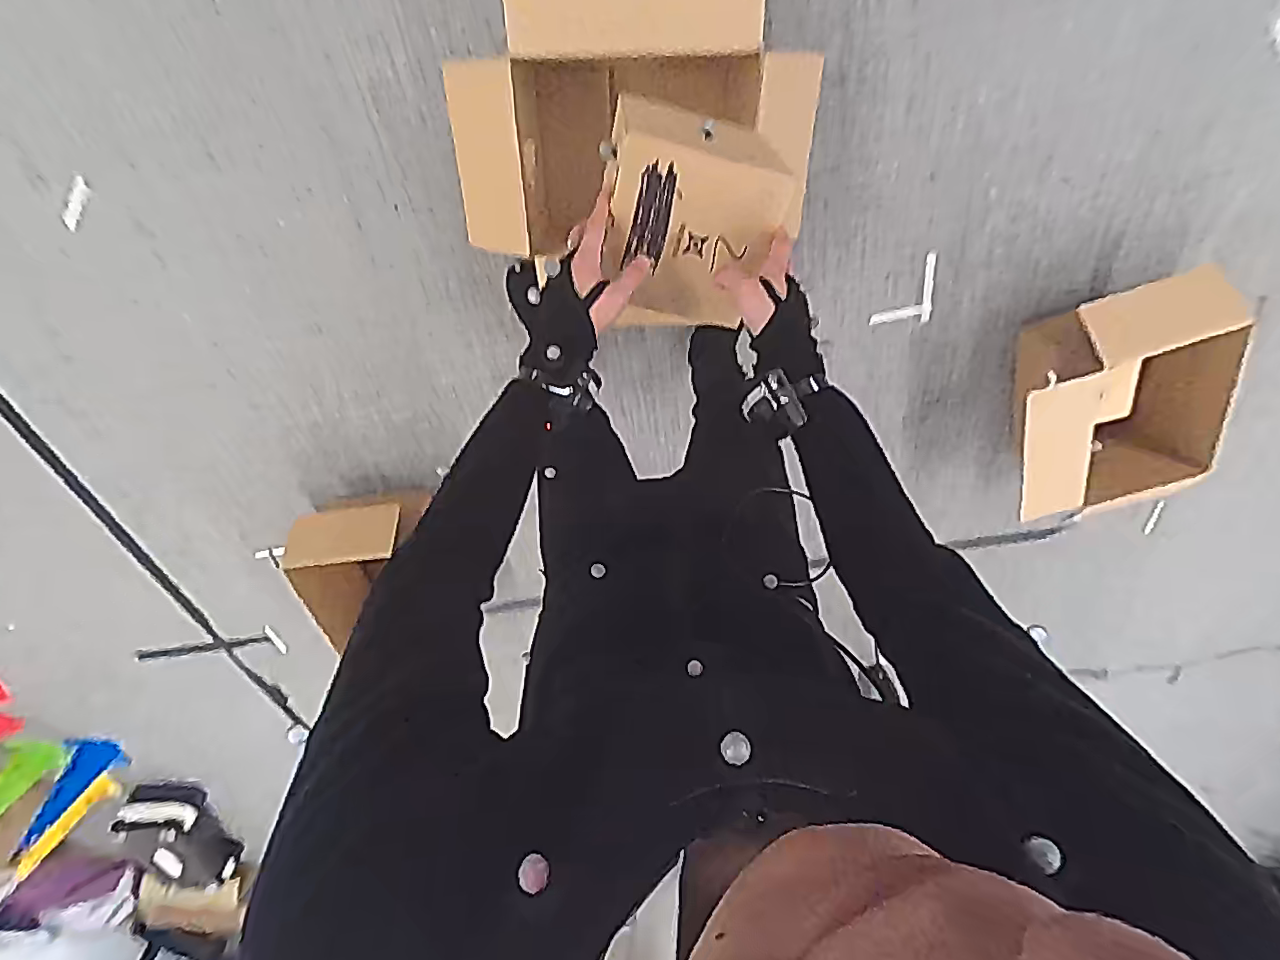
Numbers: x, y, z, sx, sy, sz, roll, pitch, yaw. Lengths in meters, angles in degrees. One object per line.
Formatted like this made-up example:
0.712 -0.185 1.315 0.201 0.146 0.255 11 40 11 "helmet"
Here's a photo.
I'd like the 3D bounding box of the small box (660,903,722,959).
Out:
0.156 1.434 1.656 0.179 0.176 0.168 -9 125 1 "small box"
